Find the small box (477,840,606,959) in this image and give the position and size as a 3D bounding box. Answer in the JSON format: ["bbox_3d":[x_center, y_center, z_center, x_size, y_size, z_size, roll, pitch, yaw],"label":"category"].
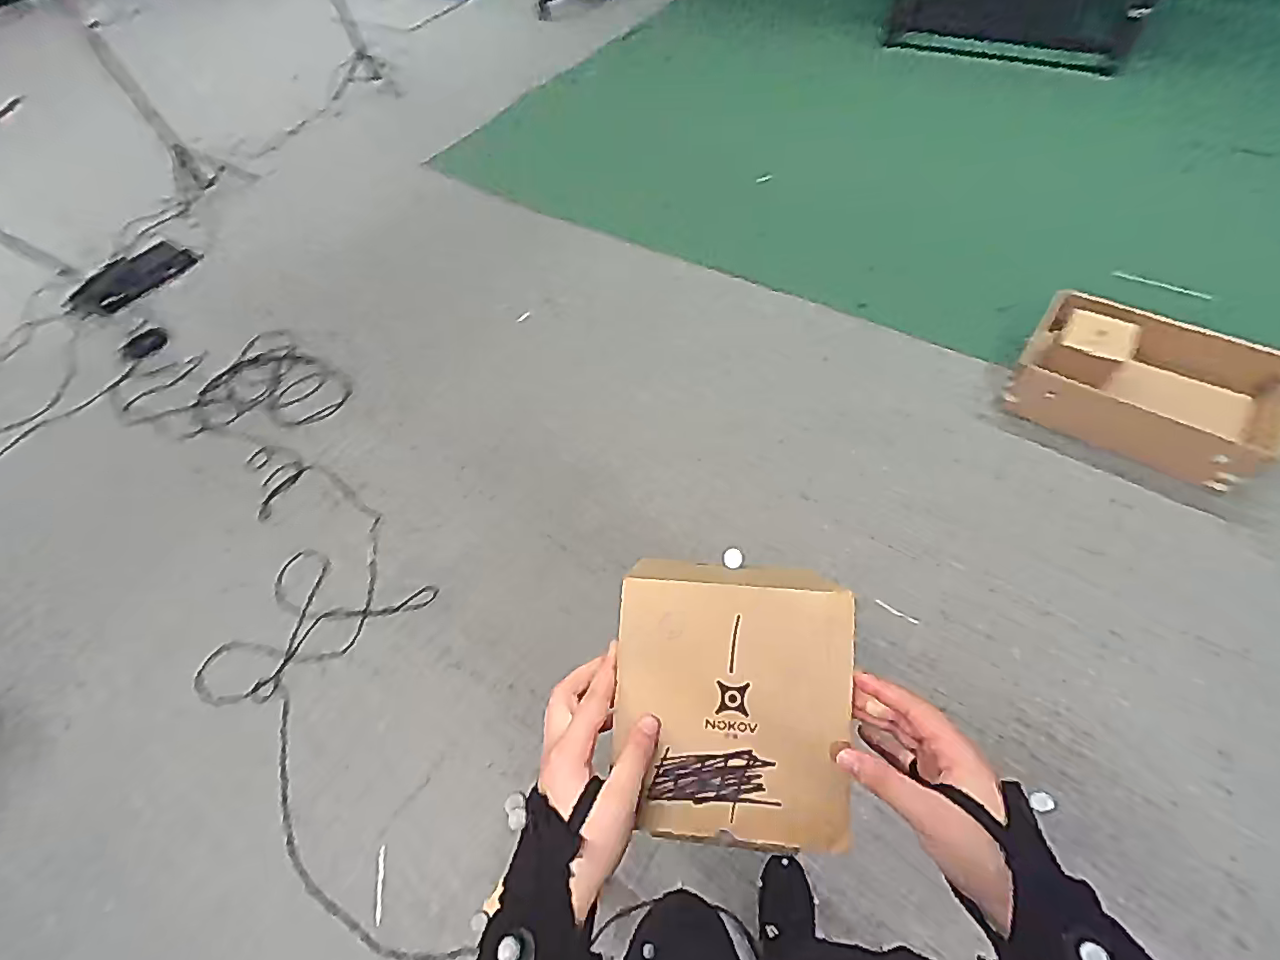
[{"bbox_3d":[-0.190,0.866,1.101,0.179,0.176,0.168,30,65,24],"label":"small box"}]

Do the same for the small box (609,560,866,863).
[{"bbox_3d":[0.075,0.169,0.453,0.168,0.176,0.179,5,86,5],"label":"small box"}]

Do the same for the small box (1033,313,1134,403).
[{"bbox_3d":[1.345,-0.371,1.649,0.168,0.176,0.179,27,65,22],"label":"small box"}]
